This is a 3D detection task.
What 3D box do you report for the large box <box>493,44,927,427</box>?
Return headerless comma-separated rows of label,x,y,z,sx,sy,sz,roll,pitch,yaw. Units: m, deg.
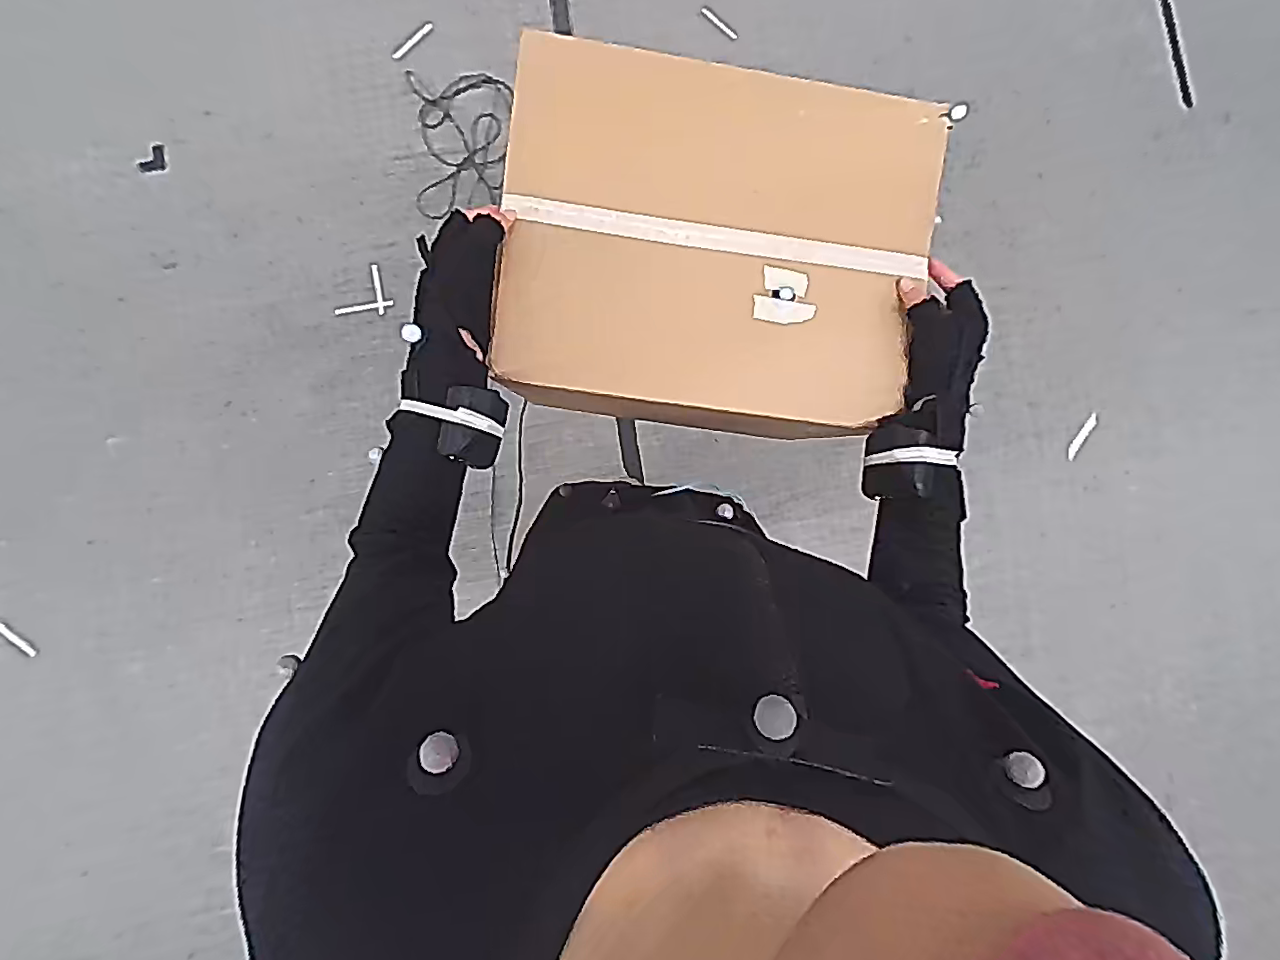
large box,0.058,-0.243,0.670,0.408,0.320,0.320,7,94,-4
